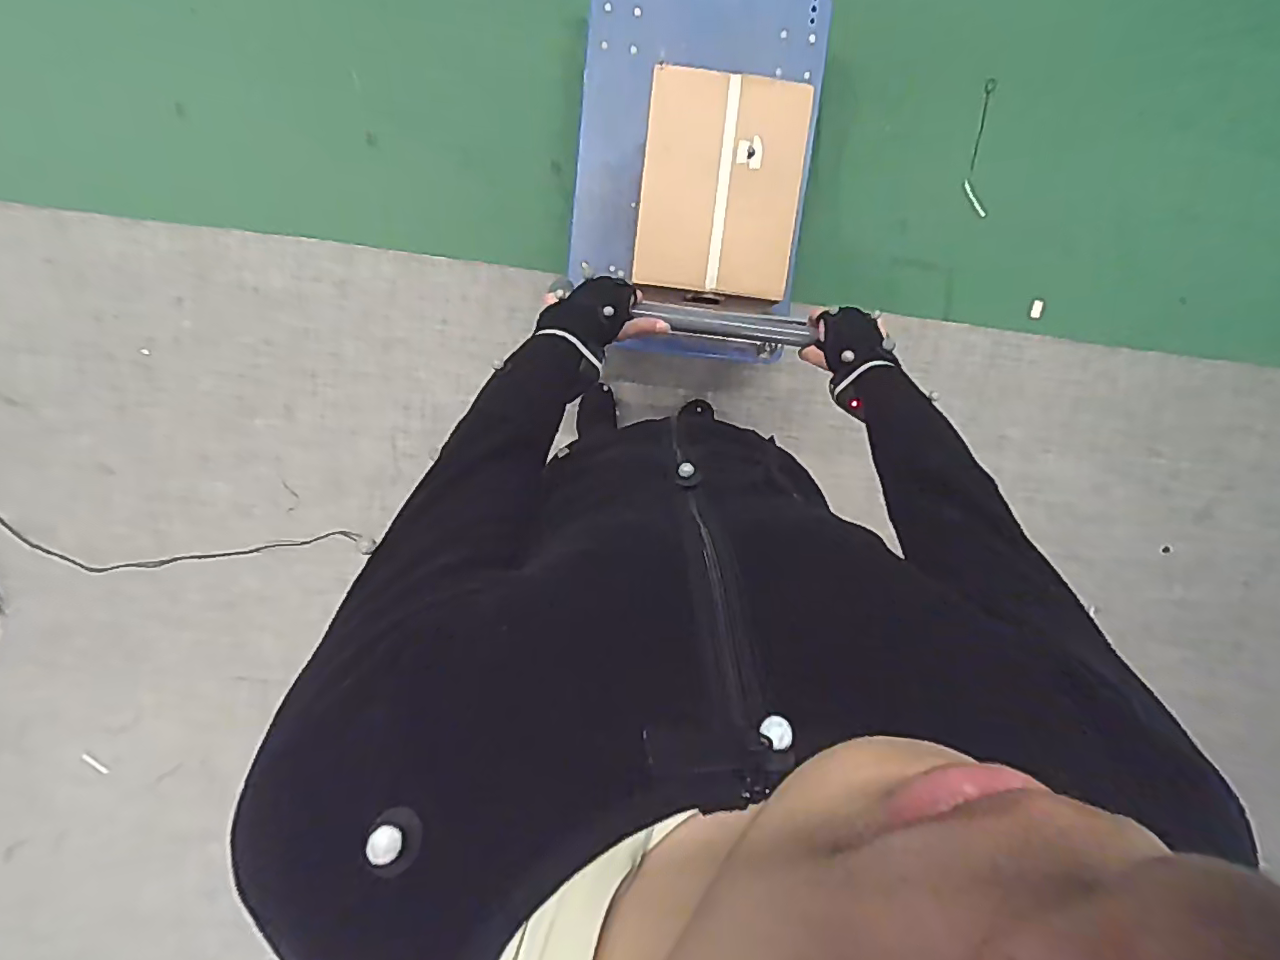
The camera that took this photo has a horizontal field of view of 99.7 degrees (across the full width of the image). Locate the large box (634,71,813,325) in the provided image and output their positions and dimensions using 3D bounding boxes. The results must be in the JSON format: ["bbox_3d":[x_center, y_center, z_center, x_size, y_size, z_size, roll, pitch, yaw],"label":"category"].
[{"bbox_3d":[0.156,-0.582,1.198,0.320,0.320,0.408,6,98,-4],"label":"large box"}]
